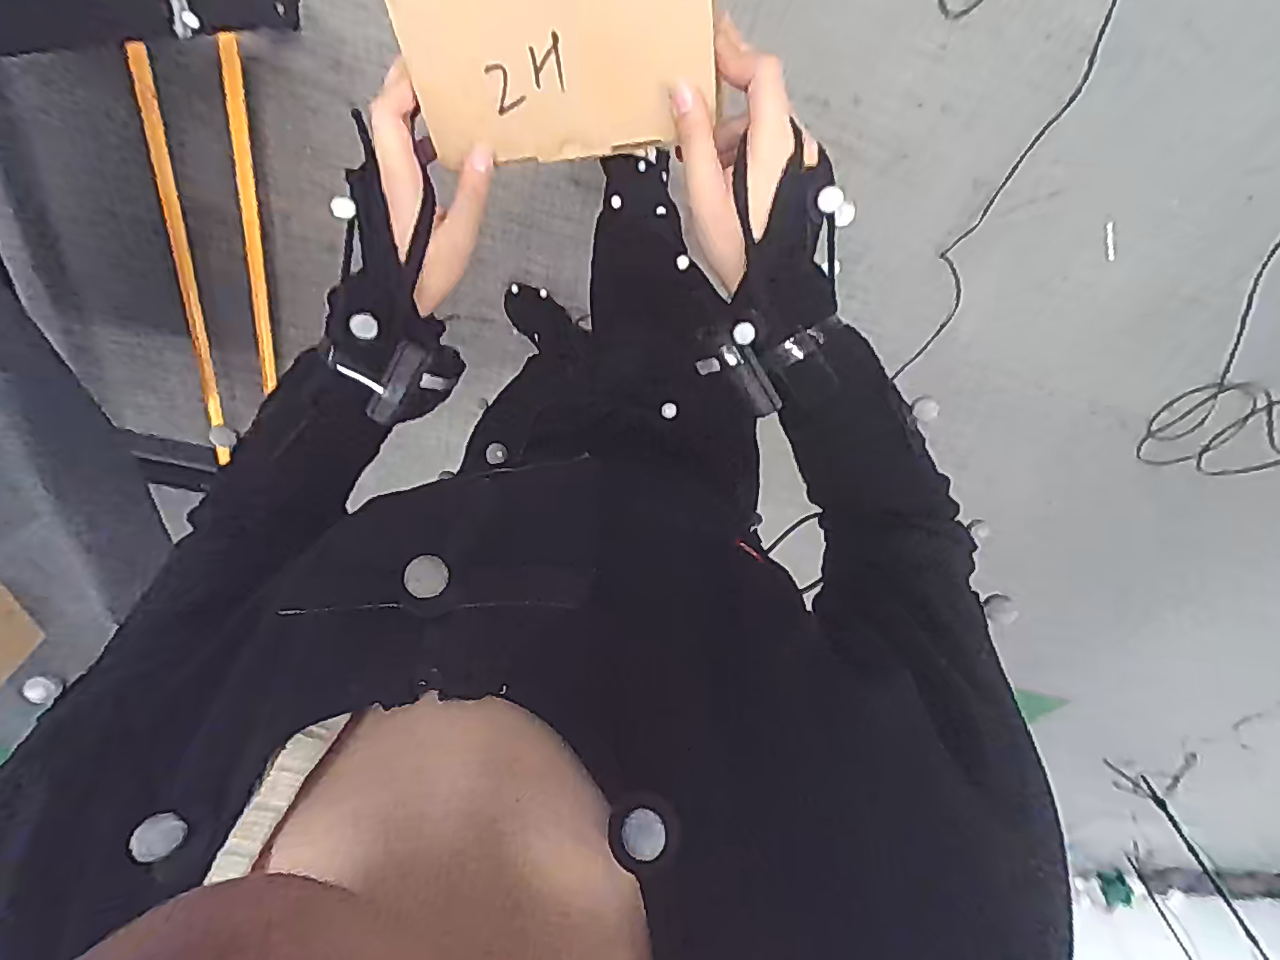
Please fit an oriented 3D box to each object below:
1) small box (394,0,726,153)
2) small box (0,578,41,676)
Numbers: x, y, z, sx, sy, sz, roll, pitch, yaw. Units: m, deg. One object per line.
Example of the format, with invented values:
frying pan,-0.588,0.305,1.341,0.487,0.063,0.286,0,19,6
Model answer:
small box,-0.036,-0.312,0.313,0.168,0.176,0.179,1,131,12
small box,-0.914,0.191,0.652,0.168,0.176,0.179,11,132,-10
